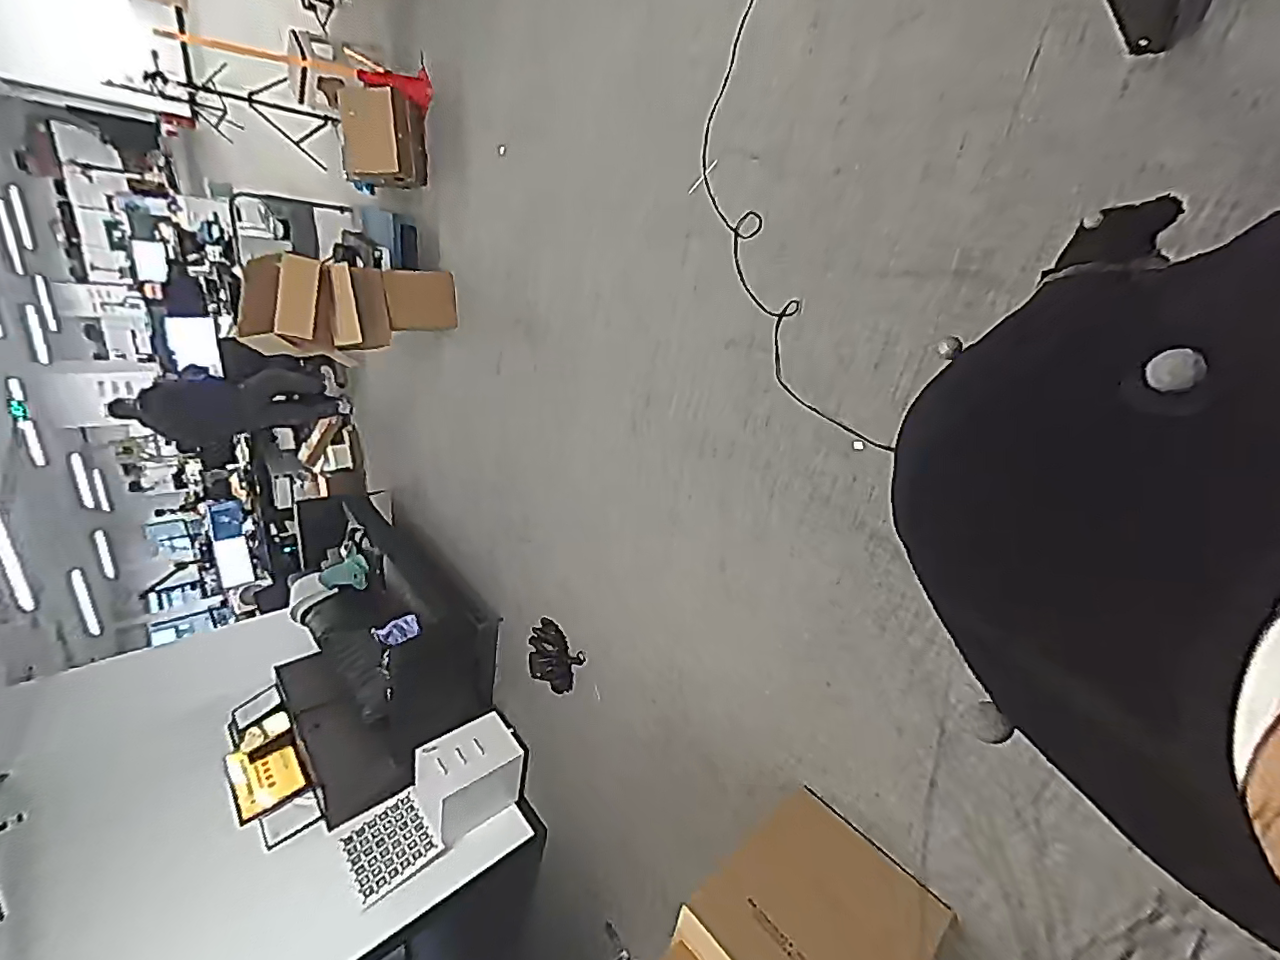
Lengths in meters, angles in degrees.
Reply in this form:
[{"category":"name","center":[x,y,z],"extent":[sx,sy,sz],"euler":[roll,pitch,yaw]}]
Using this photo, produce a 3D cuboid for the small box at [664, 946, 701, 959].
[{"category":"small box","center":[0.114,1.414,1.449],"extent":[0.179,0.176,0.168],"euler":[20,111,43]}]
